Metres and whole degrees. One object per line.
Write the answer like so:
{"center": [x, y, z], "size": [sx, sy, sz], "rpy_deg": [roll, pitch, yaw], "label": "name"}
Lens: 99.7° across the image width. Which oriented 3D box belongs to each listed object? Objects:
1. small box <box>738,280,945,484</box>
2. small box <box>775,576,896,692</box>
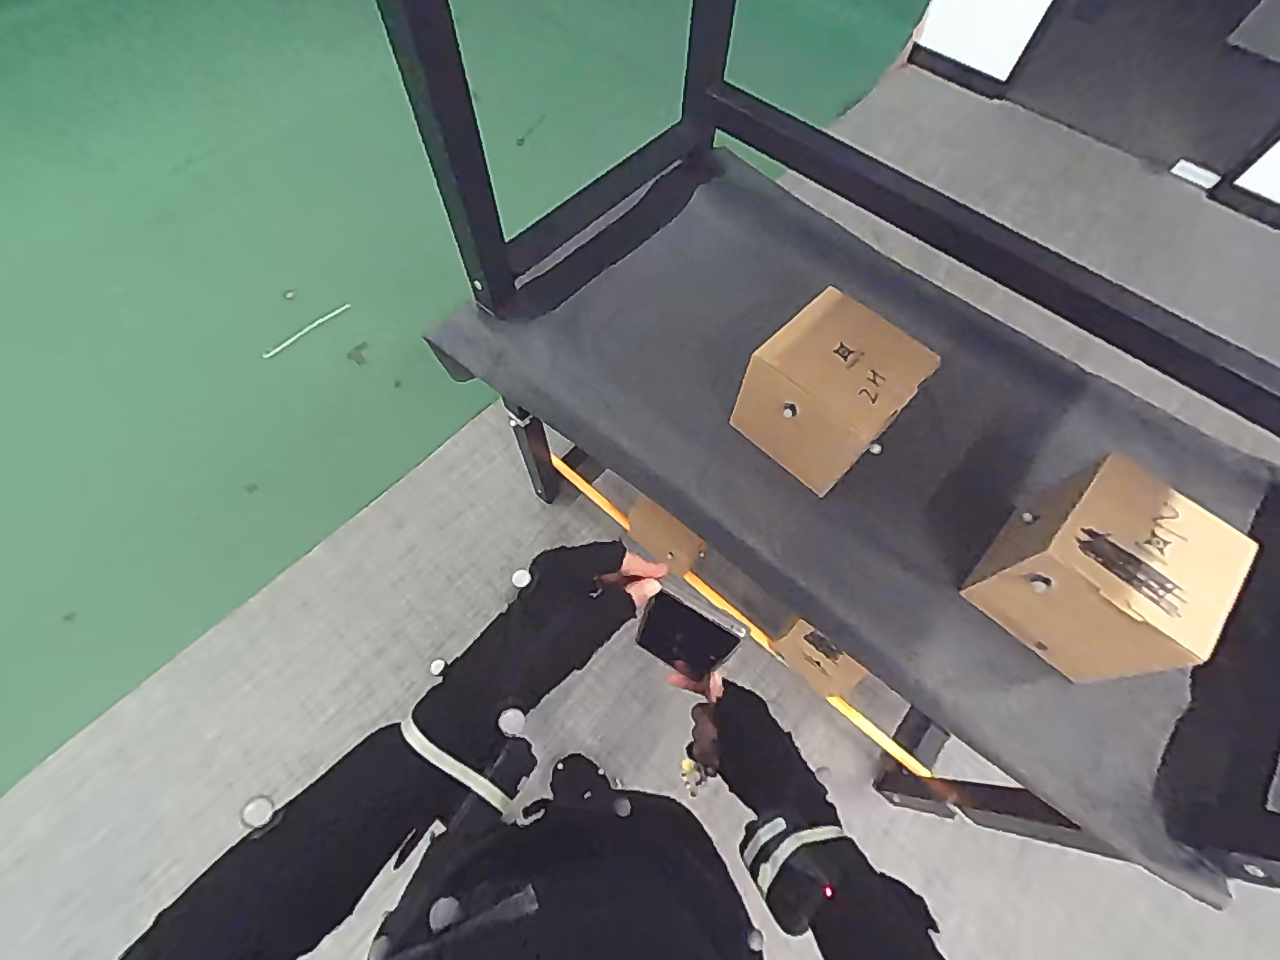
{"center": [0.255, -0.125, 0.733], "size": [0.179, 0.176, 0.168], "rpy_deg": [42, 70, 17], "label": "small box"}
{"center": [0.421, 0.348, 1.203], "size": [0.168, 0.176, 0.179], "rpy_deg": [42, 71, 16], "label": "small box"}
